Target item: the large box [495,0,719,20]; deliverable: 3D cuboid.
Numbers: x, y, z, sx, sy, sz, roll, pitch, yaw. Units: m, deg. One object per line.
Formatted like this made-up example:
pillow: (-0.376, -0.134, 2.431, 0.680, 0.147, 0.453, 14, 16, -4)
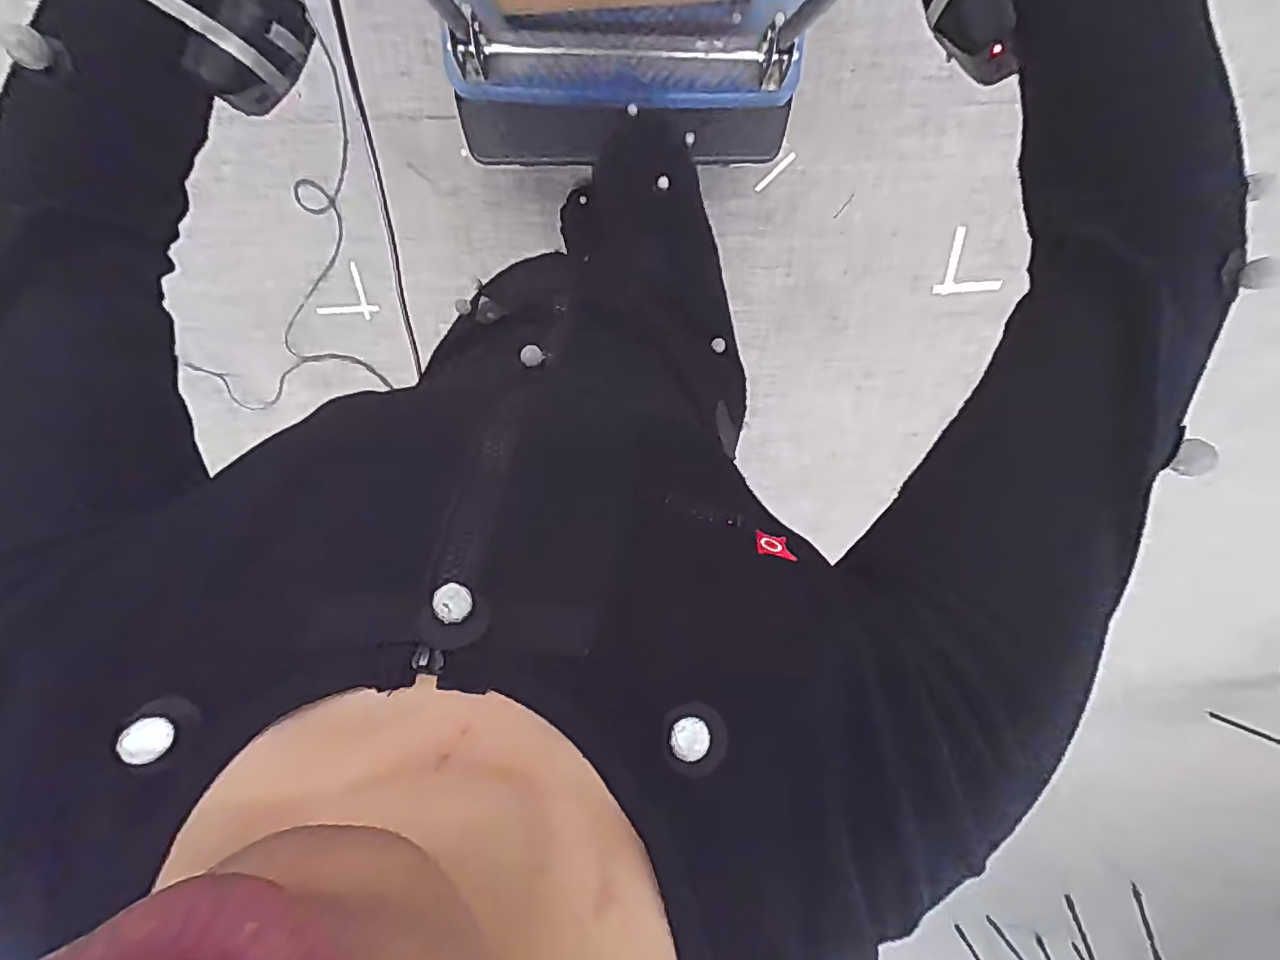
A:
large box: (-0.028, -0.830, 0.662, 0.408, 0.320, 0.320, -6, 113, -2)
